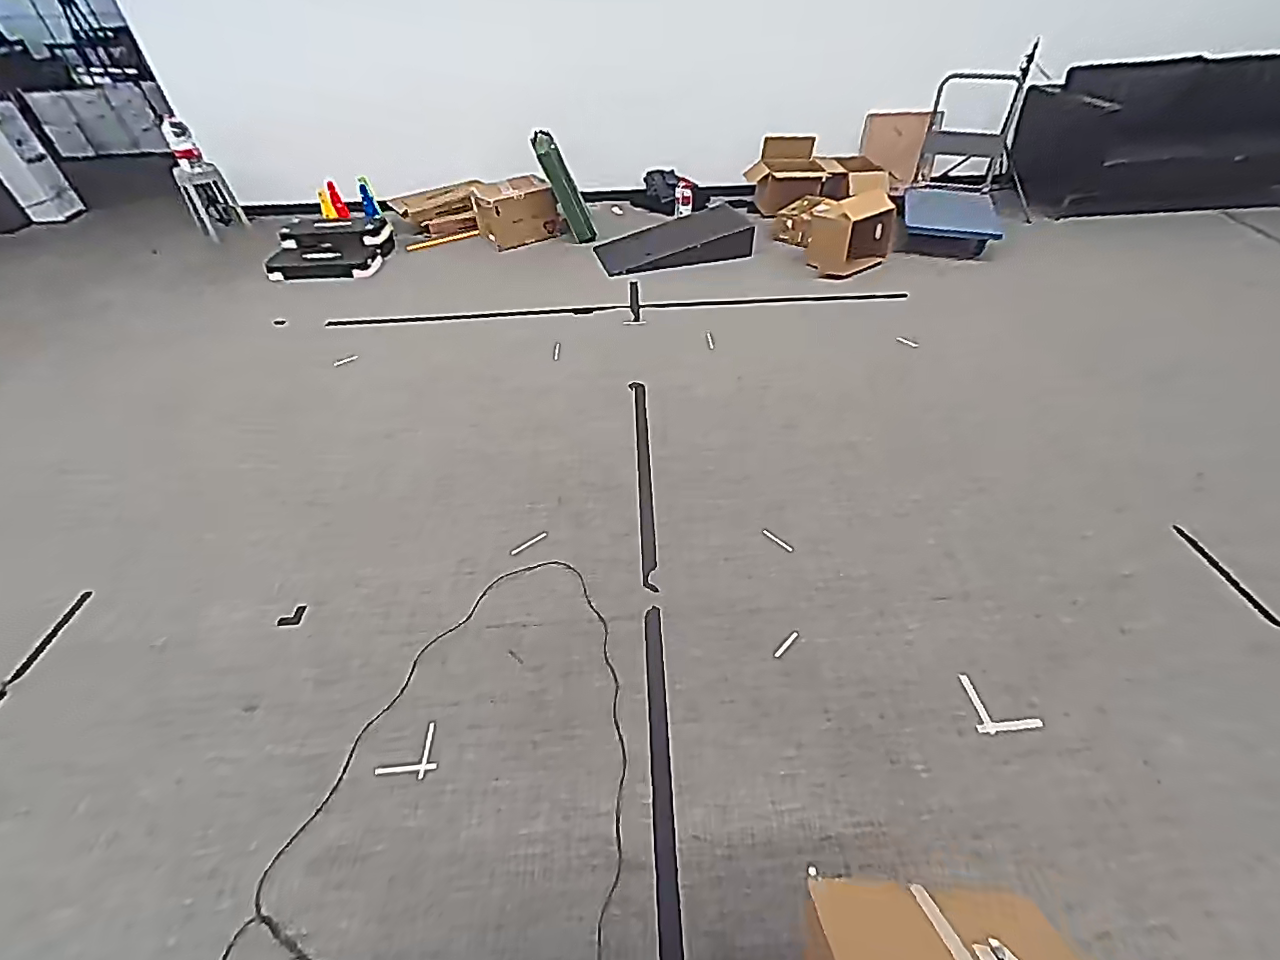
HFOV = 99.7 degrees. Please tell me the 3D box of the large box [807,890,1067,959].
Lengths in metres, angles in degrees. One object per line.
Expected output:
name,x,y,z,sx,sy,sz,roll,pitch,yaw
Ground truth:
large box,0.389,0.751,0.591,0.320,0.408,0.320,3,85,3
